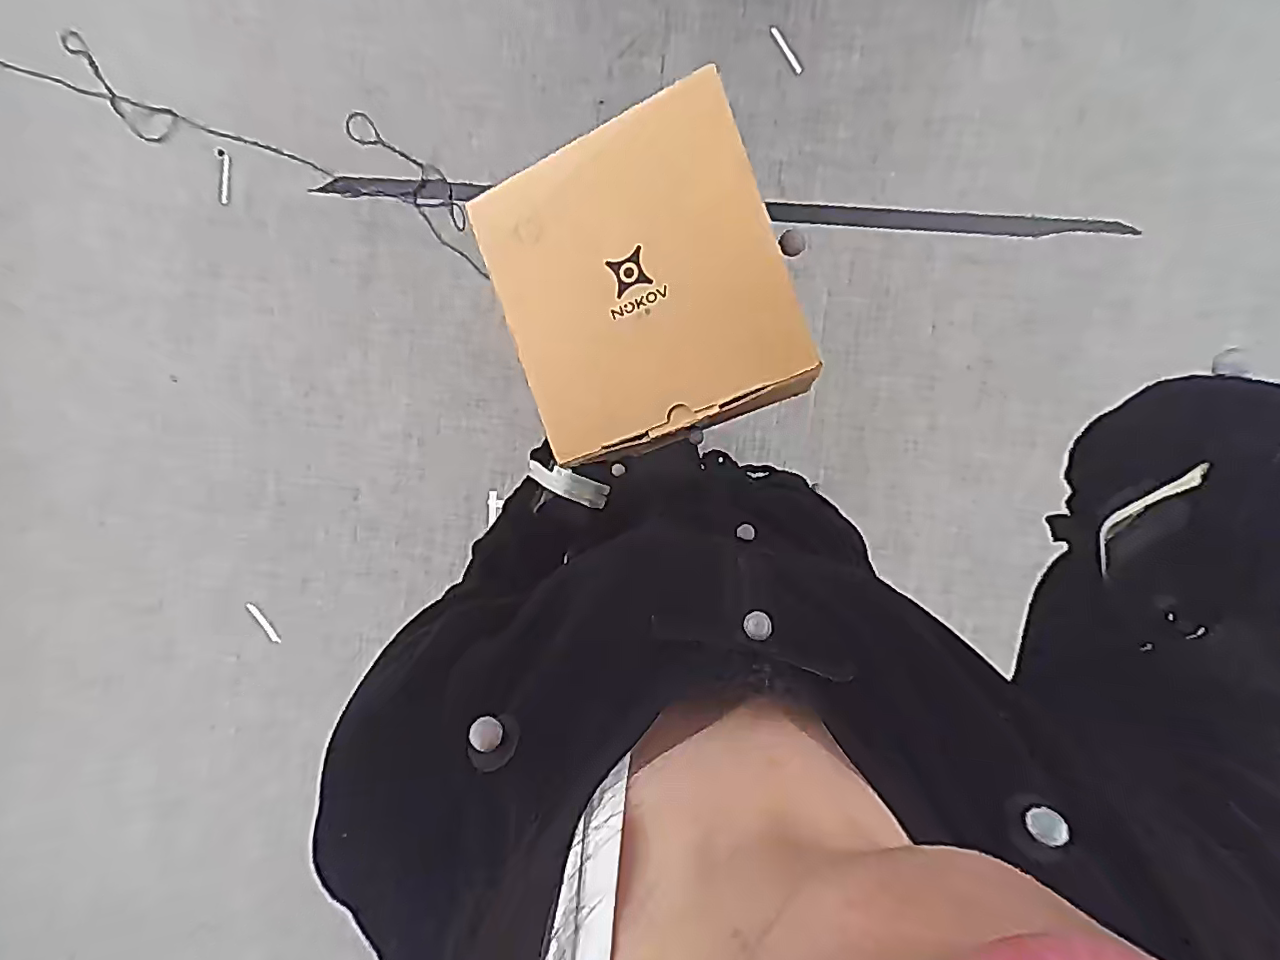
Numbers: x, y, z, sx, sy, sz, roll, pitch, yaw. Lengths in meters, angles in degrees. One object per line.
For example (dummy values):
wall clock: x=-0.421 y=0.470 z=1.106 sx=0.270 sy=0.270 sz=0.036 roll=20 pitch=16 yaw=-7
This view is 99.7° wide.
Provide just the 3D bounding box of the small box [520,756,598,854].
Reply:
small box: x=-0.215 y=0.877 z=1.473 sx=0.179 sy=0.176 sz=0.168 roll=-1 pitch=94 yaw=6

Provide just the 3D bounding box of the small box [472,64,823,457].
small box: x=0.017 y=-0.126 z=0.388 sx=0.168 sy=0.176 sz=0.179 roll=-20 pitch=91 yaw=16

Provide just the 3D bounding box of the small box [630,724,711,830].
small box: x=0.082 y=0.778 z=1.435 sx=0.179 sy=0.176 sz=0.168 roll=13 pitch=93 yaw=4
